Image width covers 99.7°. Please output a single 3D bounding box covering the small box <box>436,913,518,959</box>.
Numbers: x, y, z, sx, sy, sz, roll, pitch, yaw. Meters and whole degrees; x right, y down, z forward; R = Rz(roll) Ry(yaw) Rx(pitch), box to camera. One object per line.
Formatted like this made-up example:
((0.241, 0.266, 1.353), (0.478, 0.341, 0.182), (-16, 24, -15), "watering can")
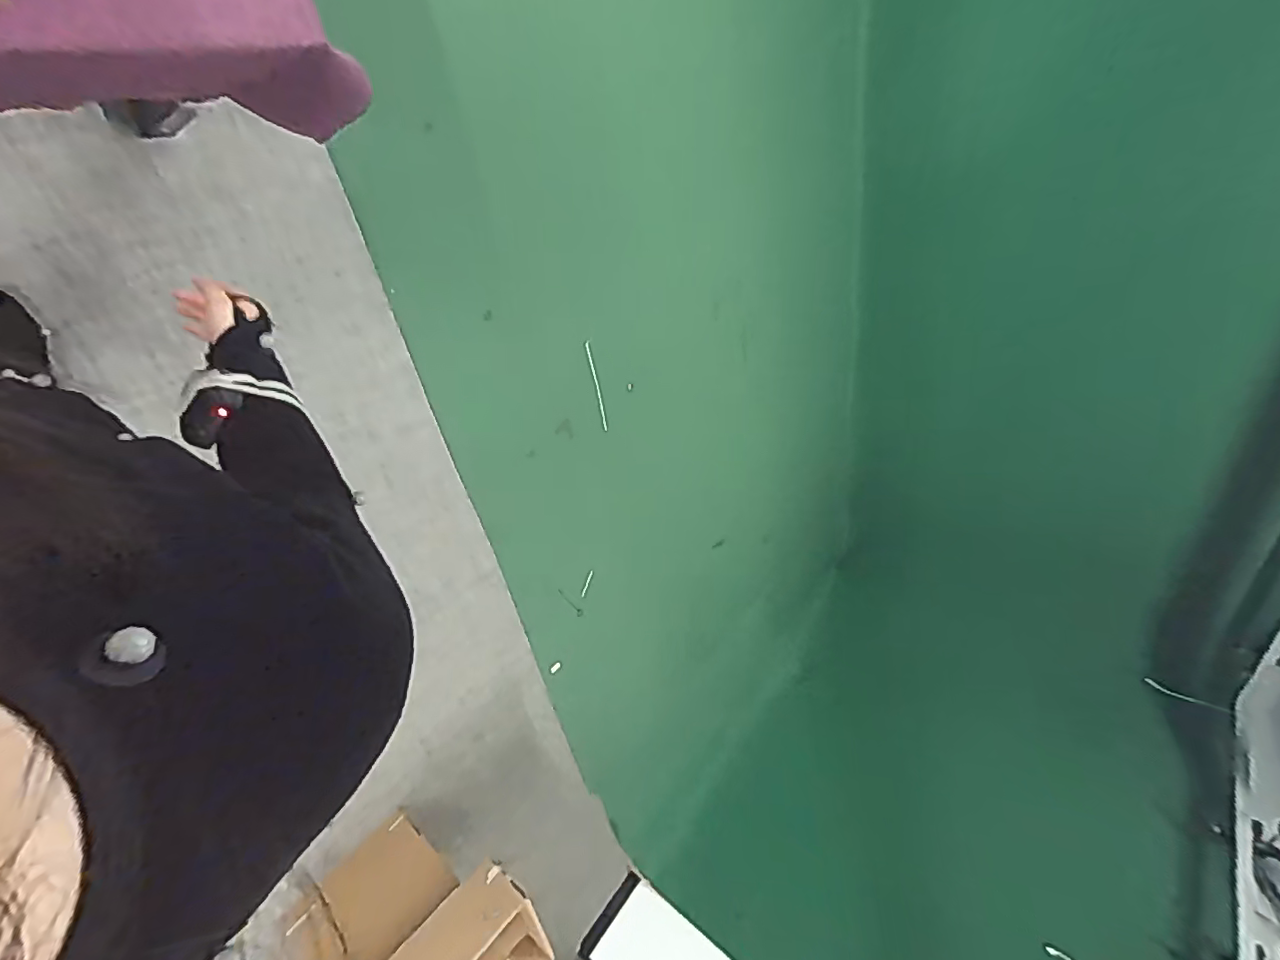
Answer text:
((-0.444, 1.375, 1.514), (0.168, 0.176, 0.179), (-34, 126, -37), "small box")
